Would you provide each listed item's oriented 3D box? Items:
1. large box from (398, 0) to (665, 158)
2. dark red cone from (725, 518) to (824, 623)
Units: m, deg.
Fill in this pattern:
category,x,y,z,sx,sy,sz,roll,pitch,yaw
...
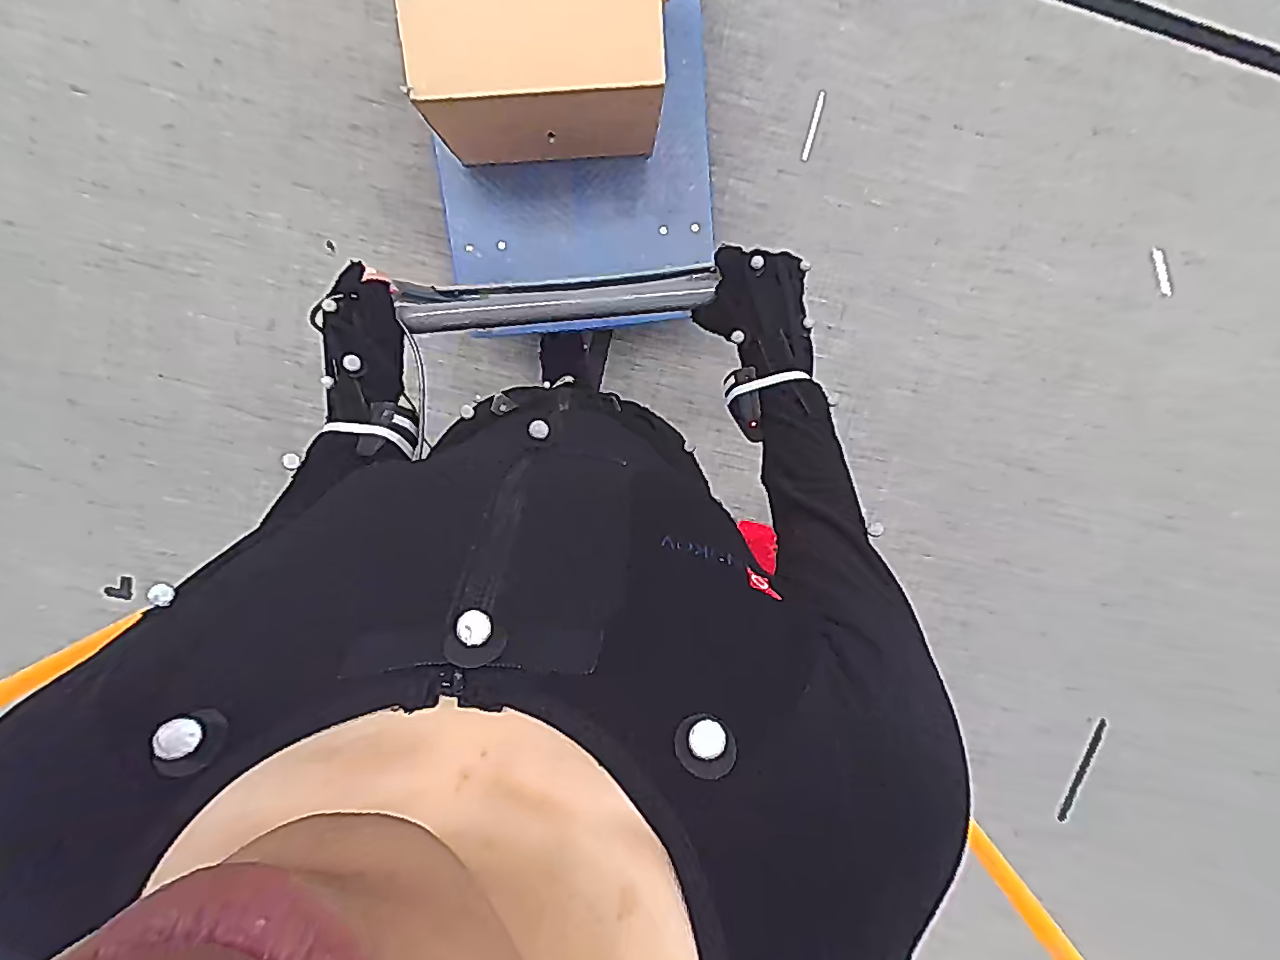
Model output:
category,x,y,z,sx,sy,sz,roll,pitch,yaw
large box,-0.175,-0.798,0.957,0.408,0.320,0.320,-5,104,-1
dark red cone,0.363,0.251,1.360,0.201,0.394,0.202,12,102,-8
